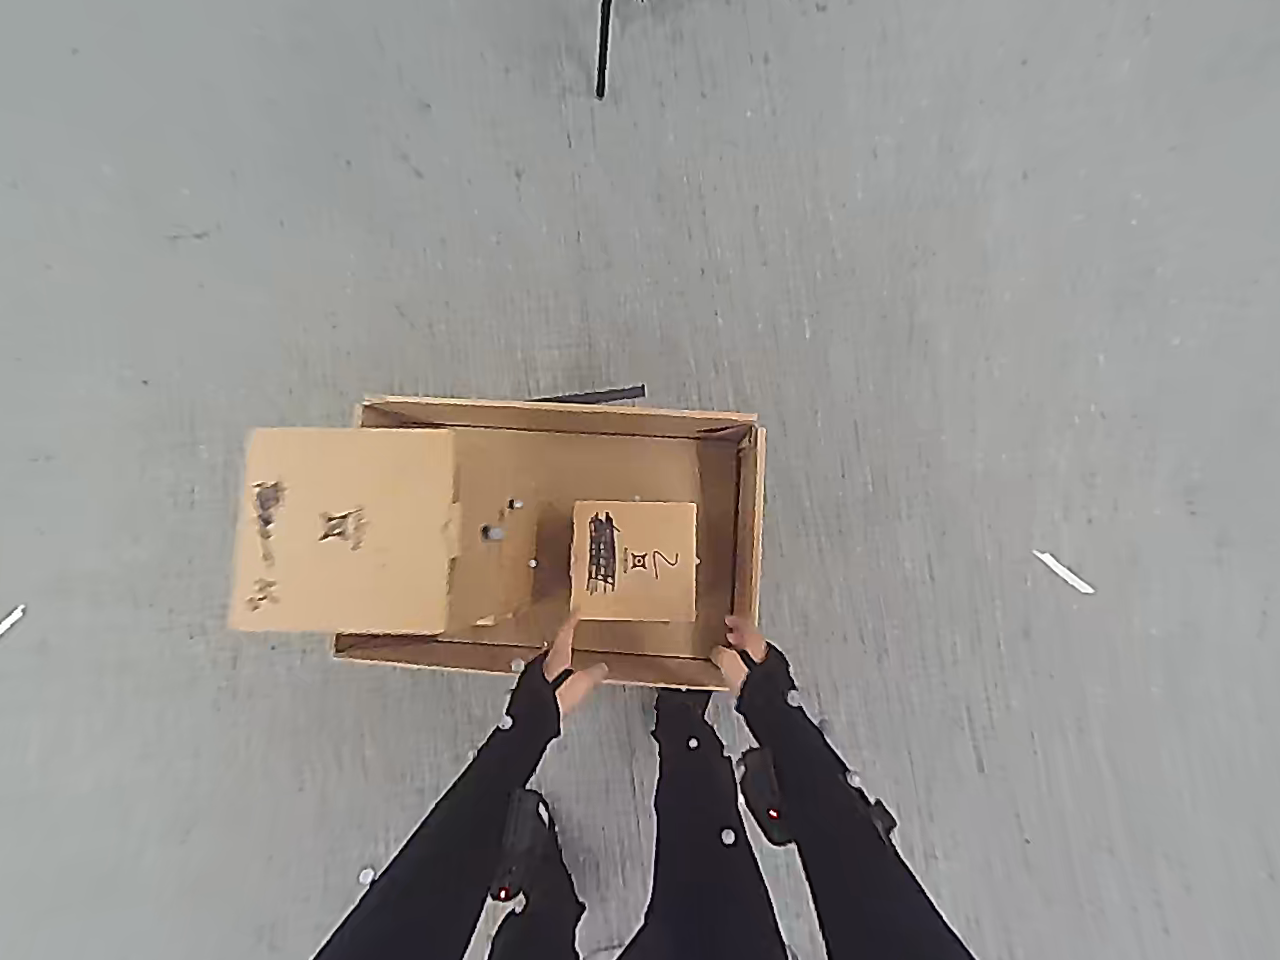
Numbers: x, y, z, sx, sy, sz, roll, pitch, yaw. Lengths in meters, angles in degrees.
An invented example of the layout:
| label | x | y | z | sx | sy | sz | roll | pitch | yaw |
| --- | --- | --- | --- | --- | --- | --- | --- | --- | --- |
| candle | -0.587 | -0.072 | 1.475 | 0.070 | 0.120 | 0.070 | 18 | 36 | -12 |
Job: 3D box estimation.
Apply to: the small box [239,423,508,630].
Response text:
| label | x | y | z | sx | sy | sz | roll | pitch | yaw |
| --- | --- | --- | --- | --- | --- | --- | --- | --- | --- |
| small box | -0.232 | 0.046 | 0.520 | 0.179 | 0.176 | 0.168 | 2 | 82 | 0 |

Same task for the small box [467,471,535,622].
| label | x | y | z | sx | sy | sz | roll | pitch | yaw |
| --- | --- | --- | --- | --- | --- | --- | --- | --- | --- |
| small box | -0.232 | 0.075 | 0.681 | 0.168 | 0.176 | 0.179 | 3 | 83 | 0 |
